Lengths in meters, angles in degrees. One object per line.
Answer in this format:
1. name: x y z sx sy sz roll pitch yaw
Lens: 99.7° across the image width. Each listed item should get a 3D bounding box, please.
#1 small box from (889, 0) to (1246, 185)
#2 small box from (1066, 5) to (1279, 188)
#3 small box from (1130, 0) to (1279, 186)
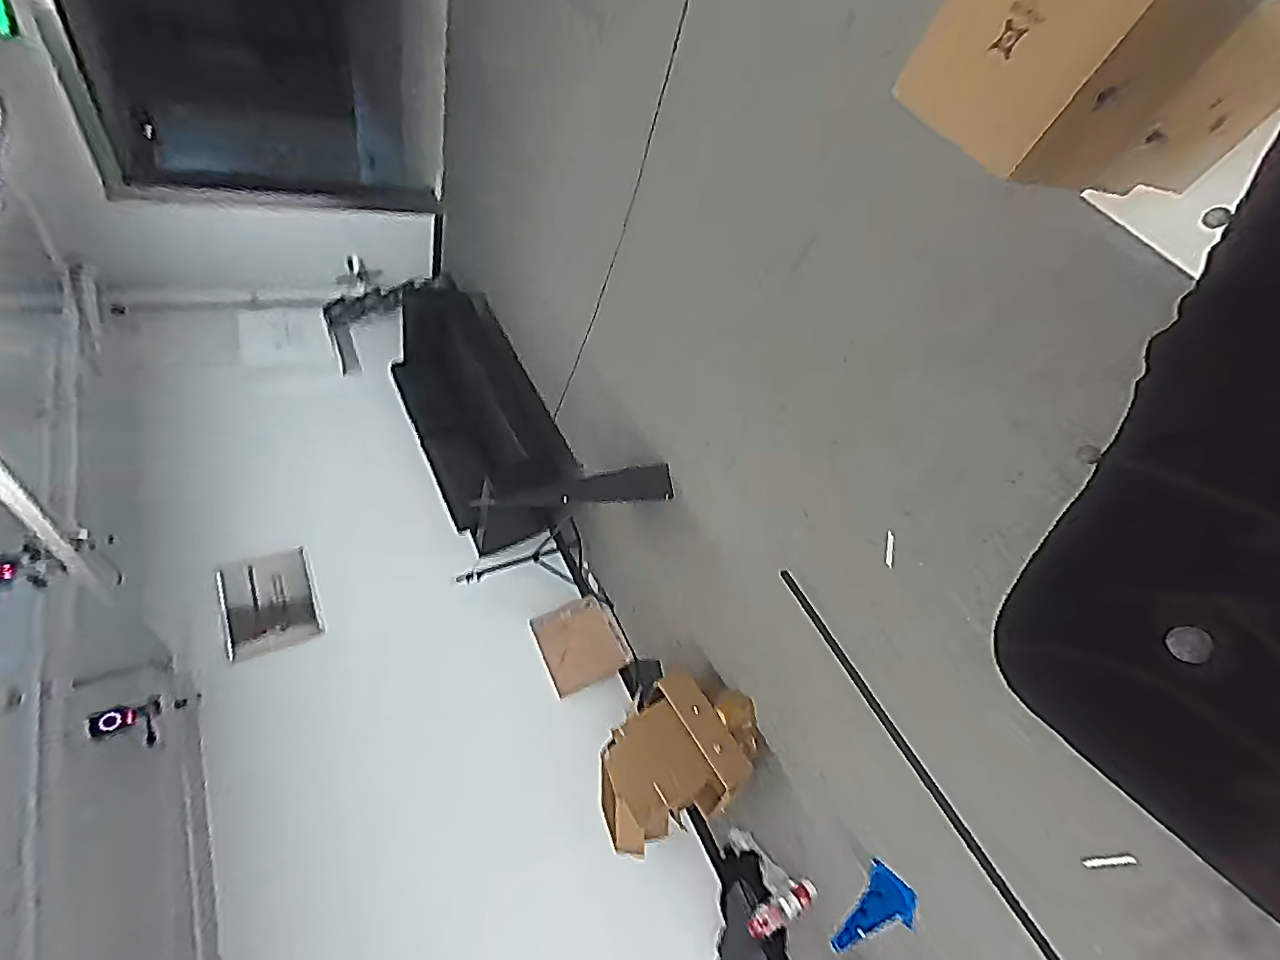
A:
1. small box: 0.385 -0.401 0.501 0.168 0.176 0.179 60 145 24
2. small box: 0.517 -0.445 0.590 0.179 0.176 0.168 63 147 23
3. small box: 0.658 -0.489 0.660 0.168 0.176 0.179 61 145 24
